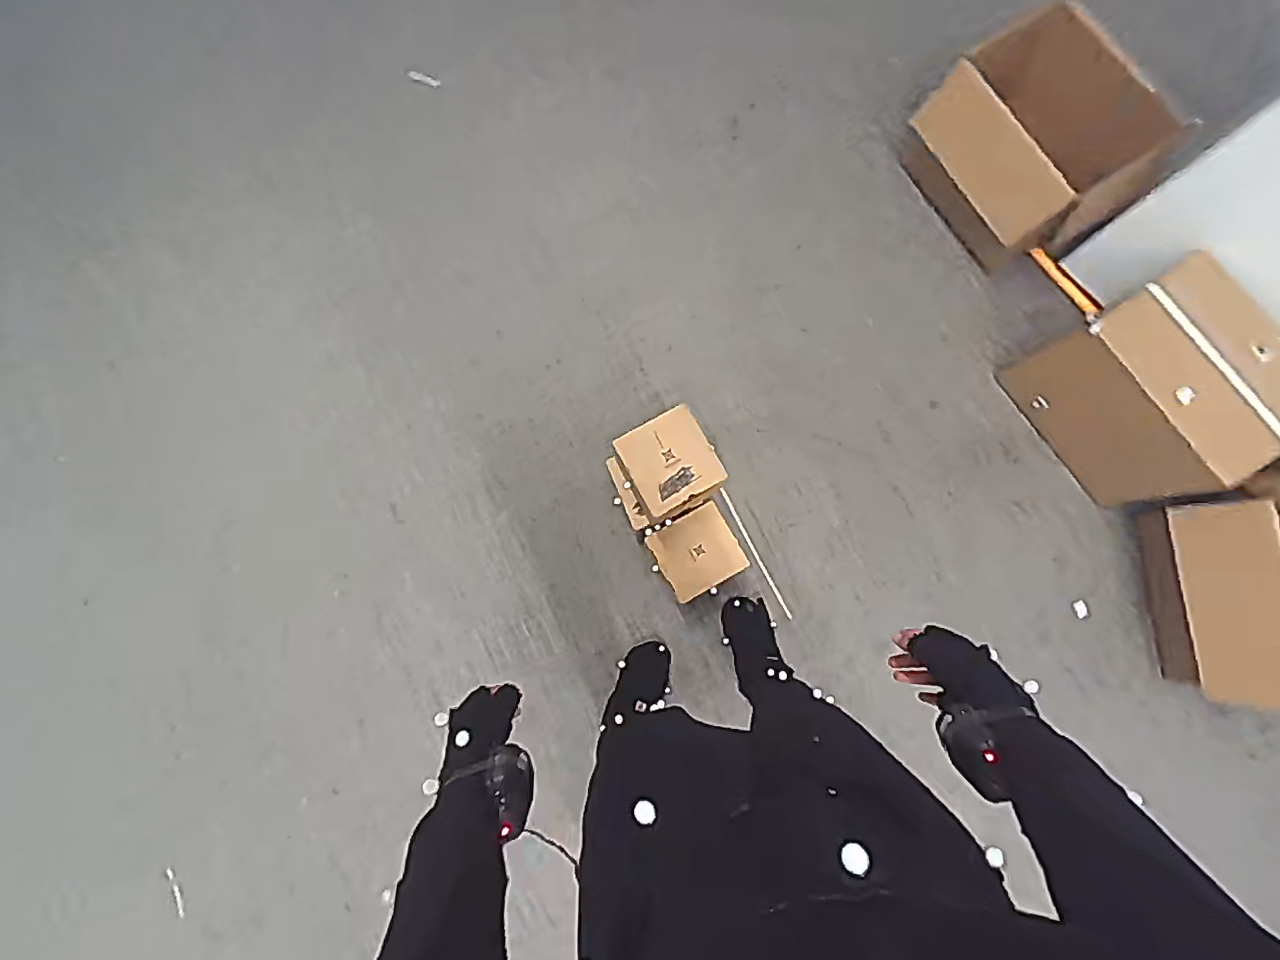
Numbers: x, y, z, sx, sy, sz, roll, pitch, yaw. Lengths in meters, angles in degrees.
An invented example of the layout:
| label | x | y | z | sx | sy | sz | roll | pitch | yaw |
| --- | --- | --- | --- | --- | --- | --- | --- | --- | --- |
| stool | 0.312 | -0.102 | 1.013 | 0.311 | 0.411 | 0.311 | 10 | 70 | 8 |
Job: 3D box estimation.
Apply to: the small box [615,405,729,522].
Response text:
| label | x | y | z | sx | sy | sz | roll | pitch | yaw |
| --- | --- | --- | --- | --- | --- | --- | --- | --- | --- |
| small box | 0.062 | -0.024 | 1.114 | 0.168 | 0.176 | 0.179 | -28 | 80 | -5 |
